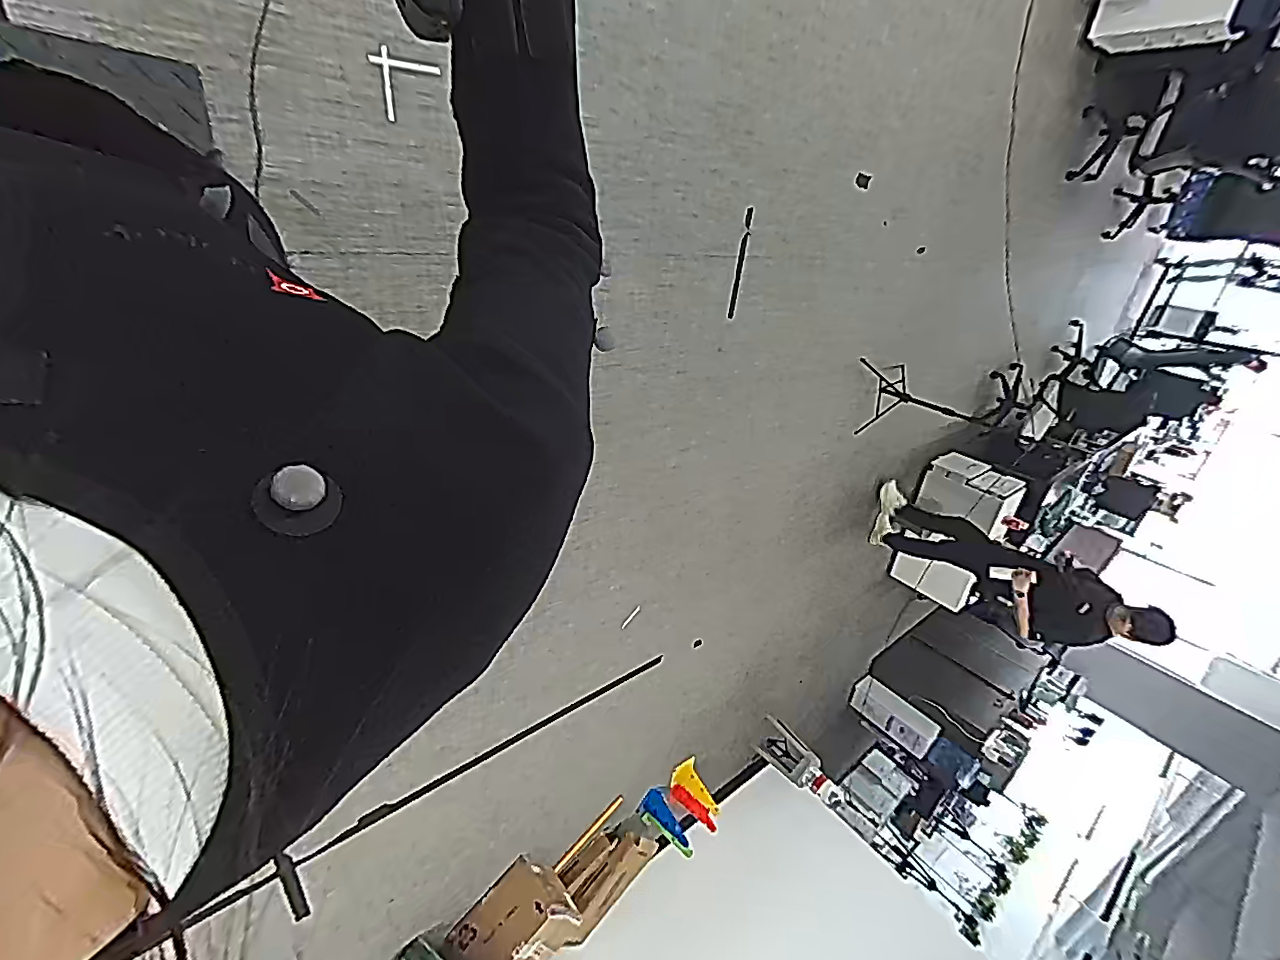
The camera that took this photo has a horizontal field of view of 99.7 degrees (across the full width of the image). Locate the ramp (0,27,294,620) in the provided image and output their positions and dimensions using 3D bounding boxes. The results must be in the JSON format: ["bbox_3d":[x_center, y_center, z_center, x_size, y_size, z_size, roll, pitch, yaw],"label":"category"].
[{"bbox_3d":[-1.028,-0.252,1.016,0.509,0.206,0.991,-14,123,-35],"label":"ramp"}]
